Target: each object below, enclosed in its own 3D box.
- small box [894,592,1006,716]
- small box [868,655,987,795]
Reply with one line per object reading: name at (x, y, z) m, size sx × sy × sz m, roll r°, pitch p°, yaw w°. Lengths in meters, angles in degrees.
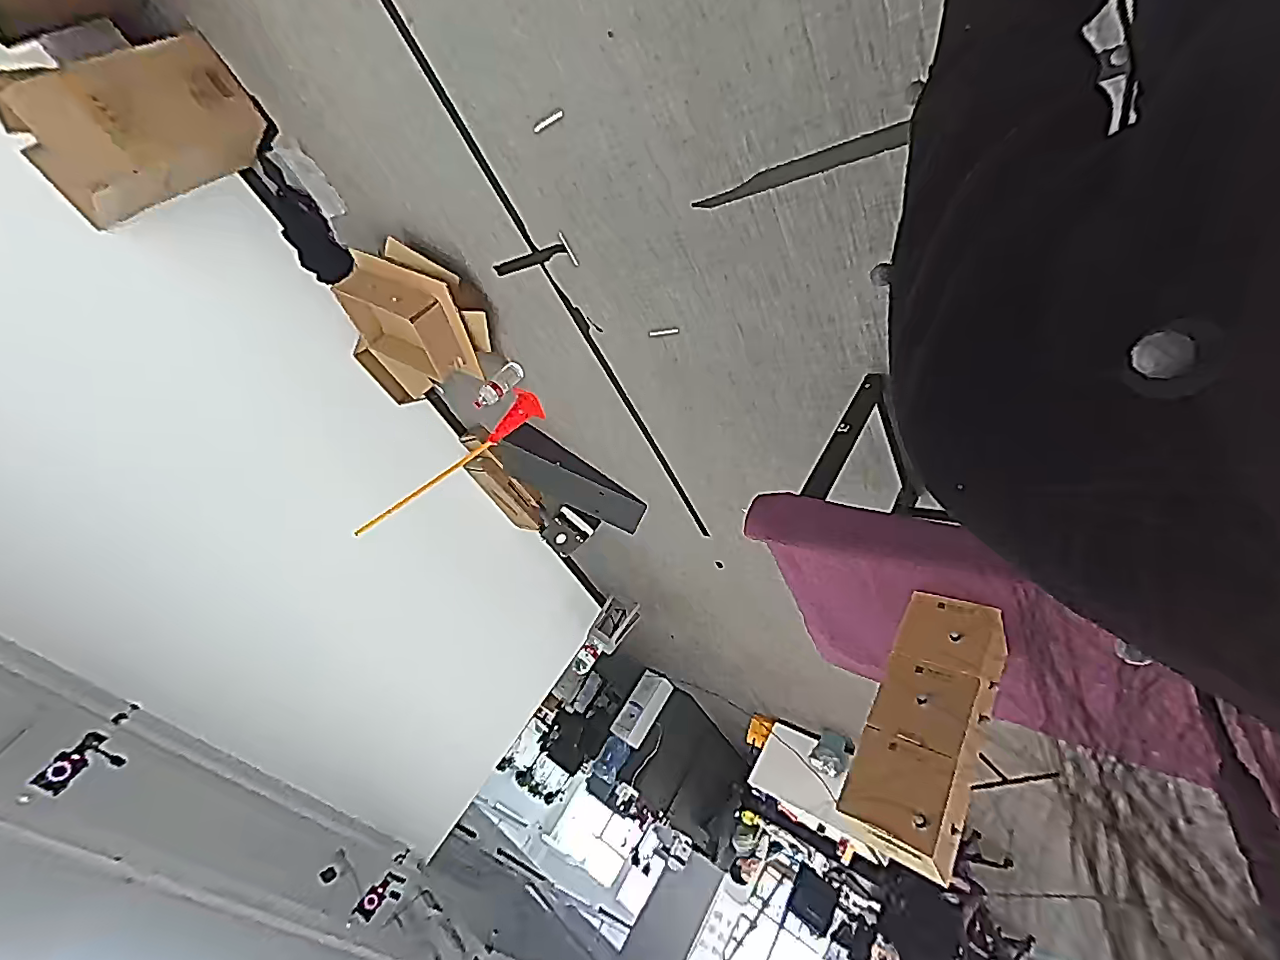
small box at (0.670, 0.365, 1.162) m, size 0.168 × 0.176 × 0.179 m, roll 6°, pitch 140°, yaw 44°
small box at (0.583, 0.483, 1.089) m, size 0.168 × 0.176 × 0.179 m, roll 7°, pitch 140°, yaw 44°
